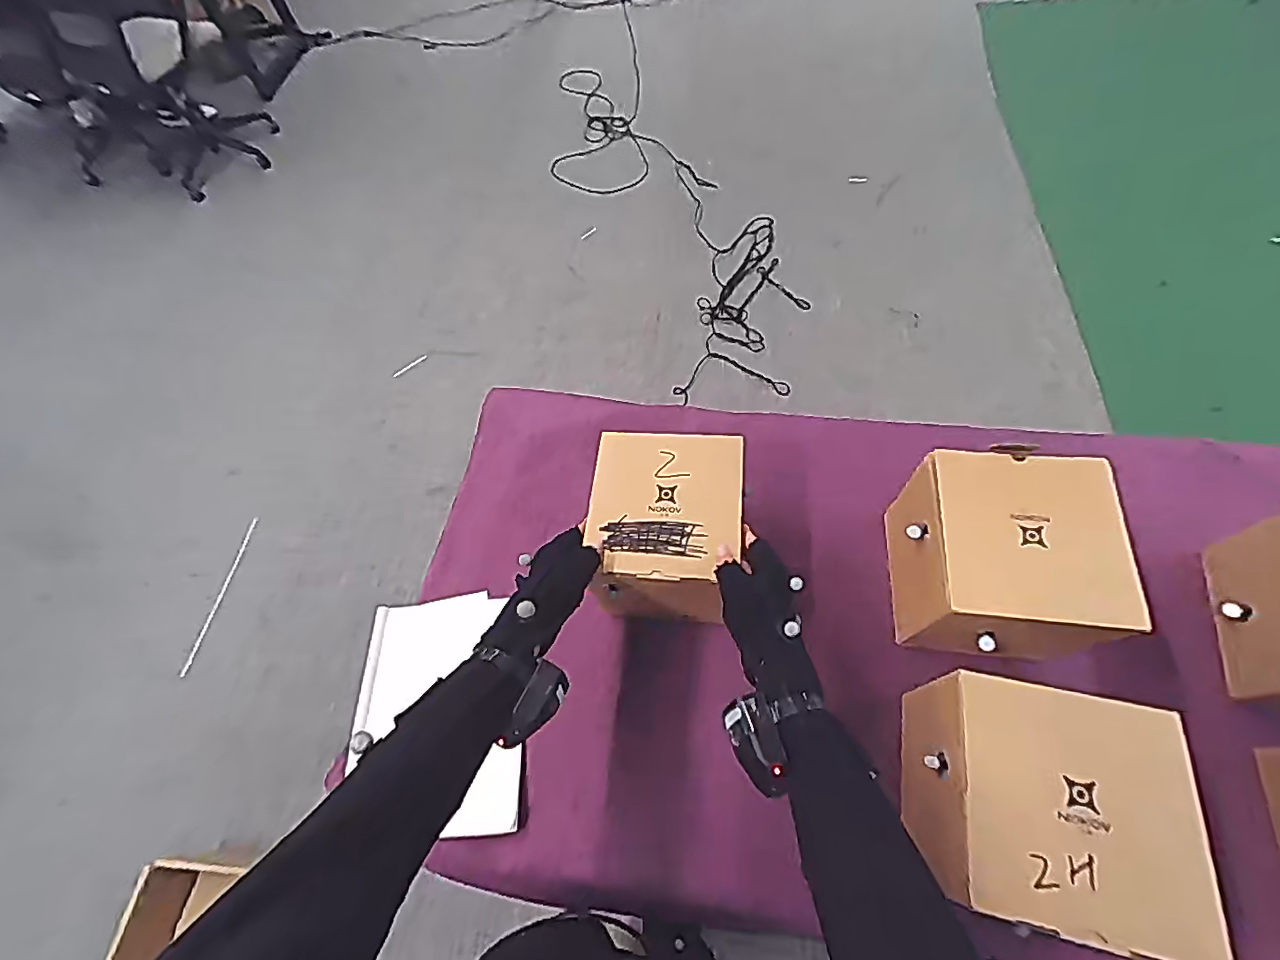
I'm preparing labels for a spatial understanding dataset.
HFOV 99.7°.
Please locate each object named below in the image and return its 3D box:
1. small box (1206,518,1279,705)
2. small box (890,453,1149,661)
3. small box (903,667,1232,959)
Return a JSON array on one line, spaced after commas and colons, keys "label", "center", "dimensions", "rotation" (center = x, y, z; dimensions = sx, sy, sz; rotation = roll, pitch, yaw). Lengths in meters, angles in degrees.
[{"label": "small box", "center": [0.715, 0.136, 0.520], "dimensions": [0.168, 0.176, 0.179], "rotation": [11, 64, 13]}, {"label": "small box", "center": [0.386, 0.090, 0.592], "dimensions": [0.168, 0.176, 0.179], "rotation": [4, 62, 10]}, {"label": "small box", "center": [0.347, 0.288, 0.485], "dimensions": [0.168, 0.176, 0.179], "rotation": [9, 63, 13]}]
